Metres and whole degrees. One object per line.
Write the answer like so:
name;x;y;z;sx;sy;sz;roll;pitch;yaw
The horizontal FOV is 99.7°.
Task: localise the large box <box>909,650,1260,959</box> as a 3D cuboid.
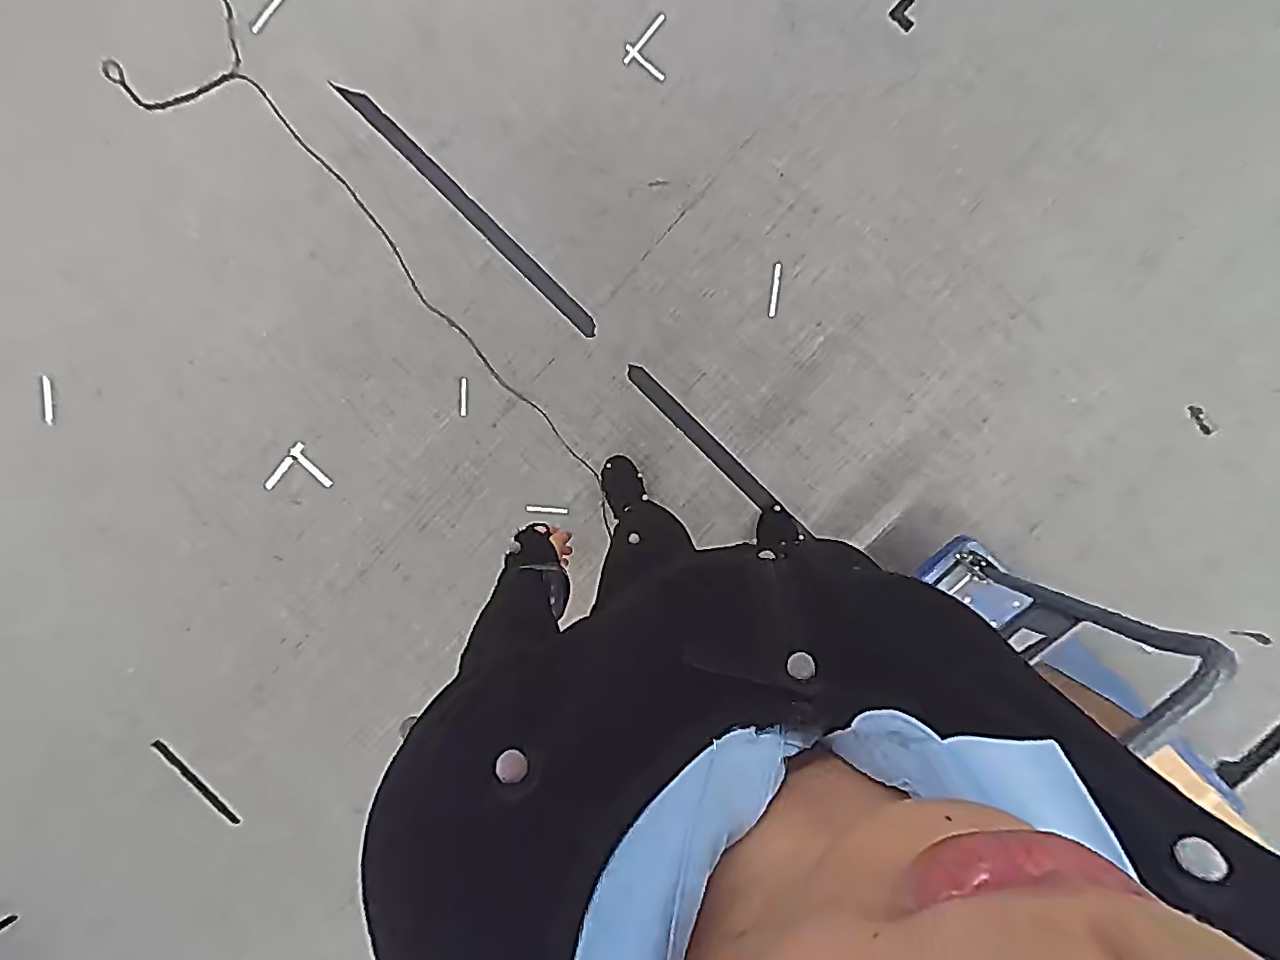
large box;0.868;0.641;1.126;0.408;0.320;0.320;-44;89;5
